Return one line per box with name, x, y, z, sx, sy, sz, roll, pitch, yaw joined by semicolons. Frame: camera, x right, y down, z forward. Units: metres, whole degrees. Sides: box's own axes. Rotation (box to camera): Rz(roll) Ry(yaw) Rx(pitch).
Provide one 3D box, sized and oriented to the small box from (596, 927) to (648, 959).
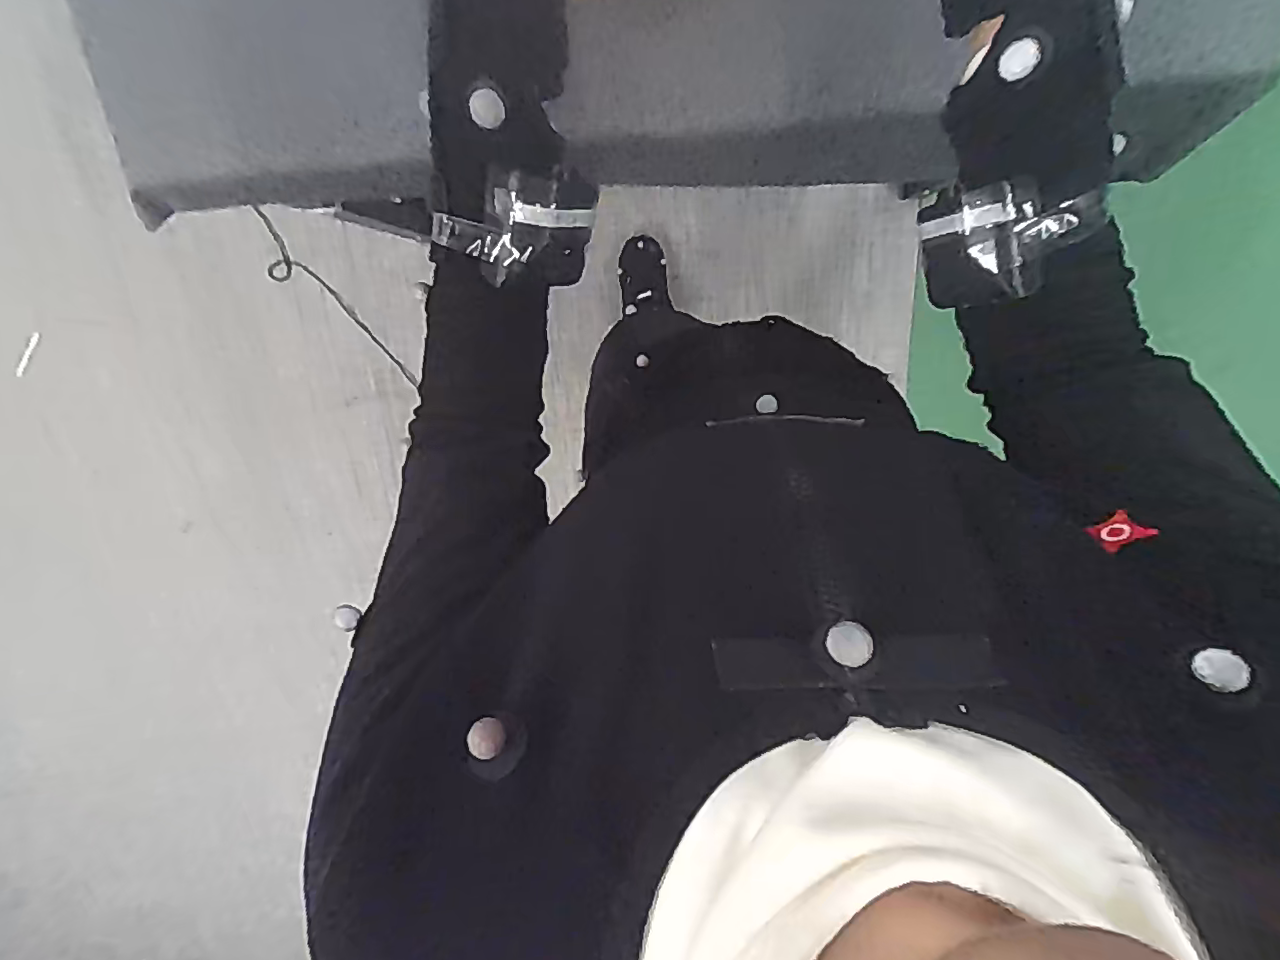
small box;-0.064;1.759;1.951;0.179;0.176;0.168;-4;107;4
